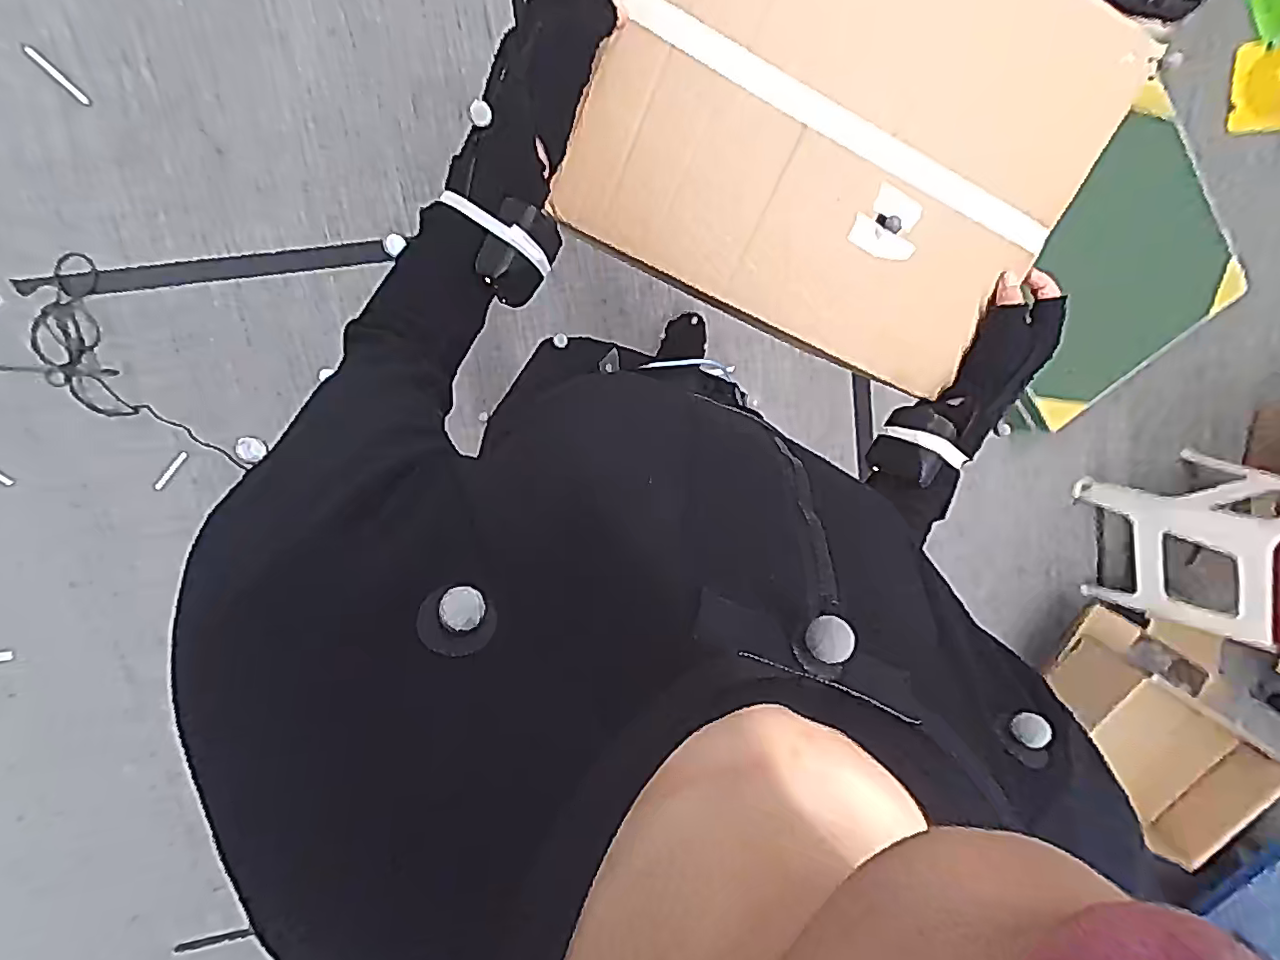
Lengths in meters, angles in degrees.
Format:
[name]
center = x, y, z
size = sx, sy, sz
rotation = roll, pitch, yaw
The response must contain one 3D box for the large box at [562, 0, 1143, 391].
[large box]
center = 0.160, -0.340, 0.583
size = 0.408, 0.320, 0.320
rotation = 22, 109, -13
